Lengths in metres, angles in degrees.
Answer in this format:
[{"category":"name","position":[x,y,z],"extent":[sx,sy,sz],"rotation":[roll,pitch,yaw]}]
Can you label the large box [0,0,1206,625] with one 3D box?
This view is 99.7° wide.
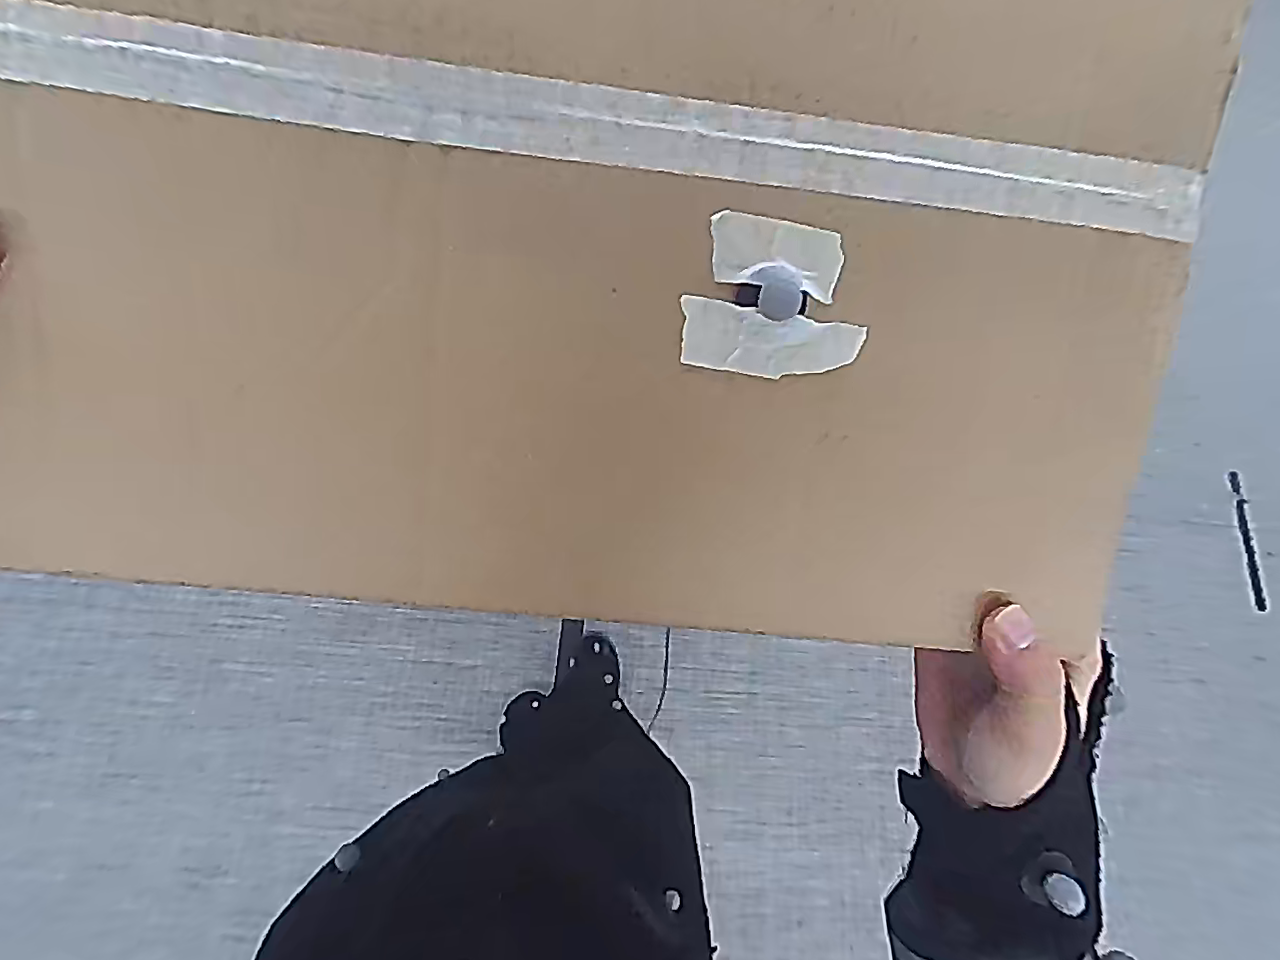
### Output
[{"category":"large box","position":[-0.027,-0.129,0.325],"extent":[0.408,0.320,0.320],"rotation":[5,99,-5]}]
